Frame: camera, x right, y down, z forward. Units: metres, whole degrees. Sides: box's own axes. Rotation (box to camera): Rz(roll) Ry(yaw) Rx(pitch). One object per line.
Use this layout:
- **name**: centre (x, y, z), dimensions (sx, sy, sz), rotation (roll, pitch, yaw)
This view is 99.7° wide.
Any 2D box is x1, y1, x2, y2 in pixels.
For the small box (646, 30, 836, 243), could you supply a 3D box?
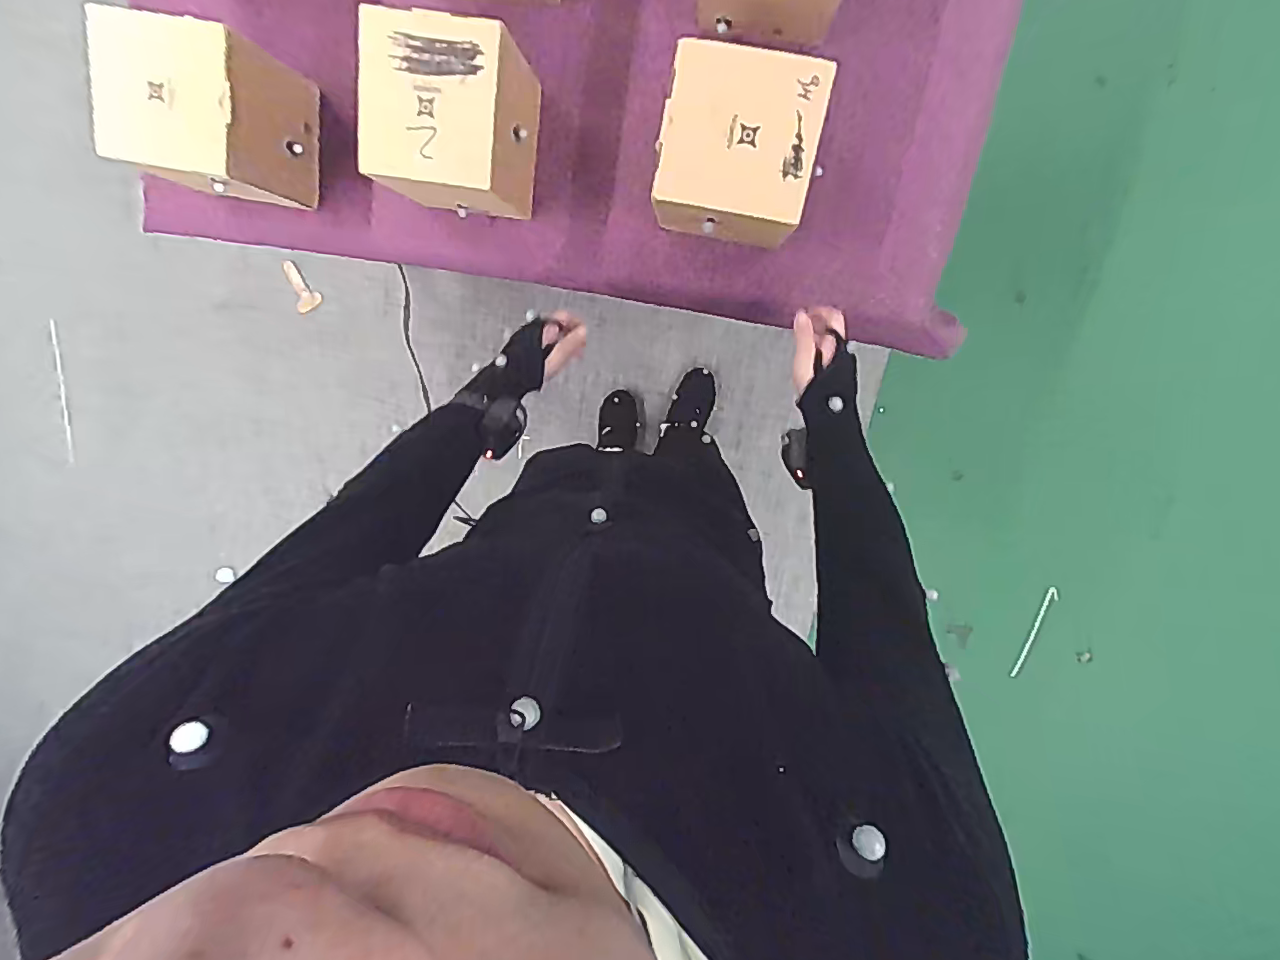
- **small box**: centre (0.115, -0.404, 0.668), dimensions (0.179, 0.176, 0.168), rotation (12, 106, 3)

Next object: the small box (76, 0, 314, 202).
- **small box**: centre (-0.573, -0.486, 0.716), dimensions (0.179, 0.176, 0.168), rotation (10, 105, 2)

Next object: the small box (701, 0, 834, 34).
- **small box**: centre (0.158, -0.641, 0.598), dimensions (0.168, 0.176, 0.179), rotation (11, 106, 3)
